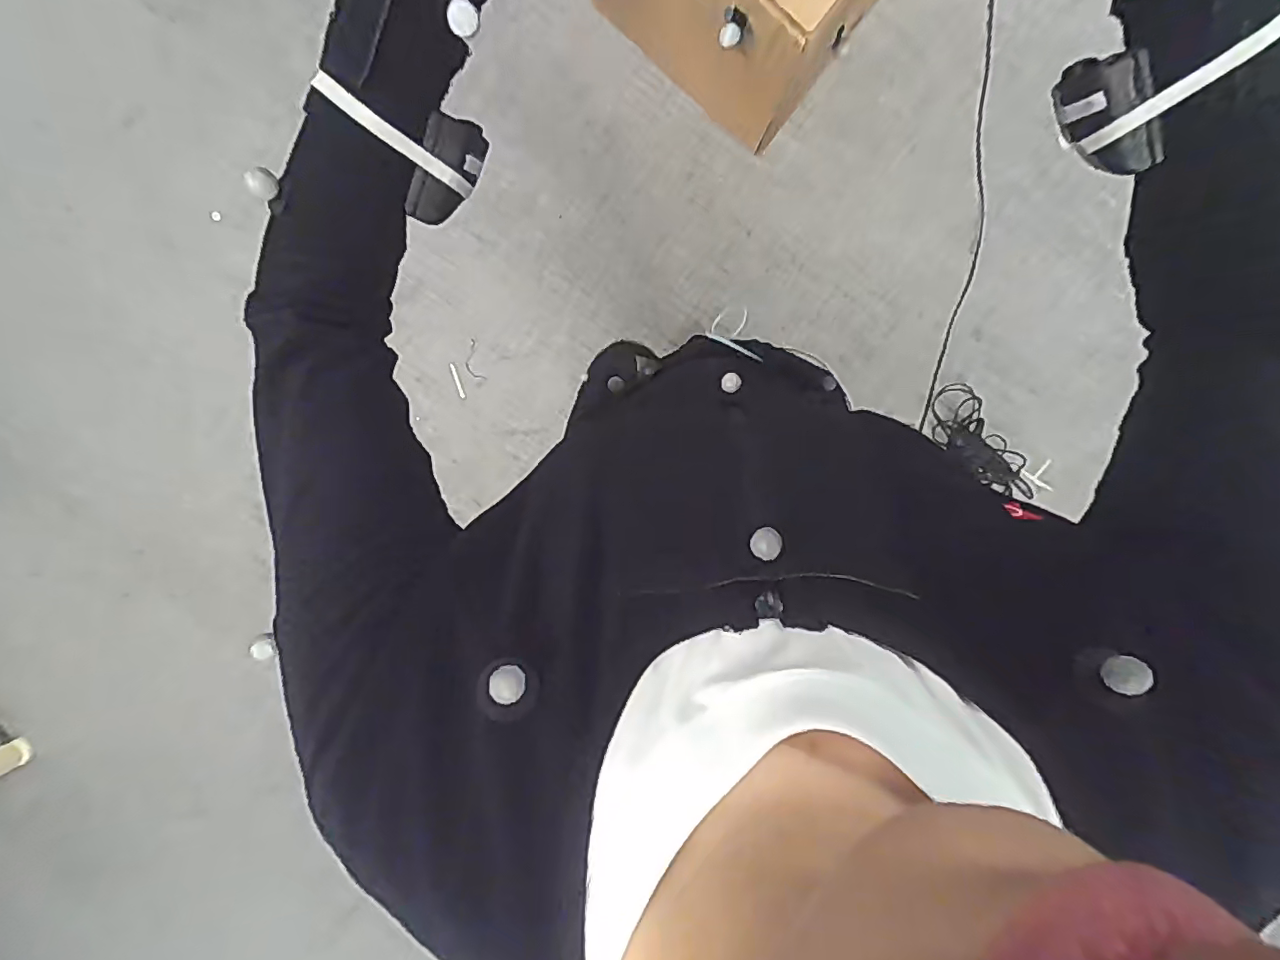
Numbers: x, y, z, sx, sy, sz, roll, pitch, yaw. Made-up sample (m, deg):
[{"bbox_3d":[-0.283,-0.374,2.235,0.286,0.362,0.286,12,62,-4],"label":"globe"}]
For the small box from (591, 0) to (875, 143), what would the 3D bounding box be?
[{"bbox_3d":[0.070,-0.358,0.336,0.179,0.176,0.168,39,101,-7],"label":"small box"}]
